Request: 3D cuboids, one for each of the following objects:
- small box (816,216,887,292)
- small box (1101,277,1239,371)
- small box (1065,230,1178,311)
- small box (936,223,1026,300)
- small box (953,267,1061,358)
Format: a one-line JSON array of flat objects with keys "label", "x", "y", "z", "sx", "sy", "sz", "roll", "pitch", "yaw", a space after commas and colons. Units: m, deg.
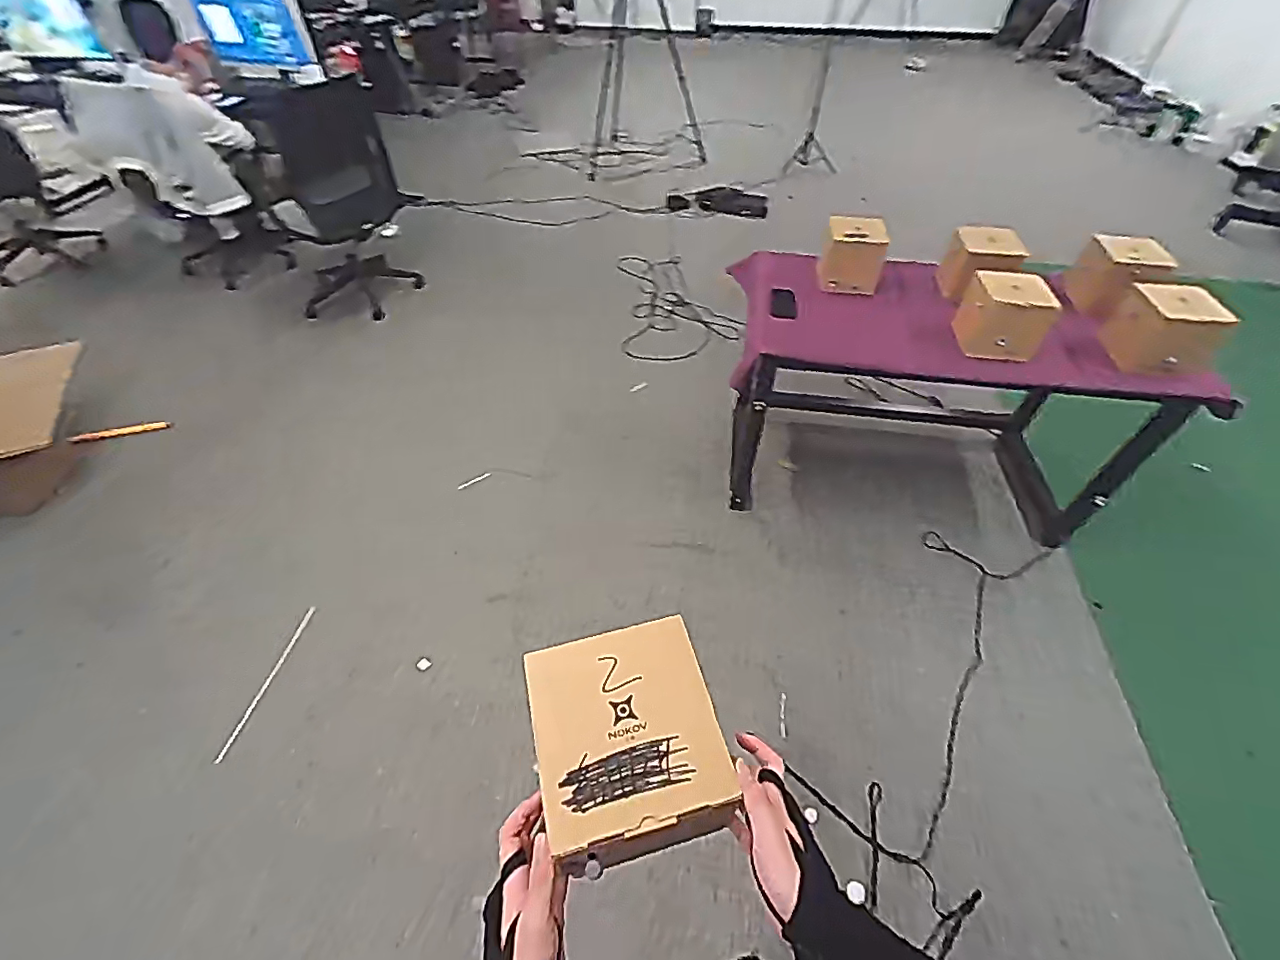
[{"label": "small box", "x": 0.661, "y": -0.713, "z": 1.709, "sx": 0.168, "sy": 0.176, "sz": 0.179, "roll": 6, "pitch": 48, "yaw": 6}, {"label": "small box", "x": 1.373, "y": -0.410, "z": 1.421, "sx": 0.168, "sy": 0.176, "sz": 0.179, "roll": 5, "pitch": 49, "yaw": 7}, {"label": "small box", "x": 1.426, "y": -0.625, "z": 1.619, "sx": 0.168, "sy": 0.176, "sz": 0.179, "roll": 7, "pitch": 48, "yaw": 8}, {"label": "small box", "x": 1.041, "y": -0.670, "z": 1.668, "sx": 0.168, "sy": 0.176, "sz": 0.179, "roll": 6, "pitch": 49, "yaw": 8}, {"label": "small box", "x": 0.987, "y": -0.456, "z": 1.475, "sx": 0.168, "sy": 0.176, "sz": 0.179, "roll": 6, "pitch": 48, "yaw": 6}]
